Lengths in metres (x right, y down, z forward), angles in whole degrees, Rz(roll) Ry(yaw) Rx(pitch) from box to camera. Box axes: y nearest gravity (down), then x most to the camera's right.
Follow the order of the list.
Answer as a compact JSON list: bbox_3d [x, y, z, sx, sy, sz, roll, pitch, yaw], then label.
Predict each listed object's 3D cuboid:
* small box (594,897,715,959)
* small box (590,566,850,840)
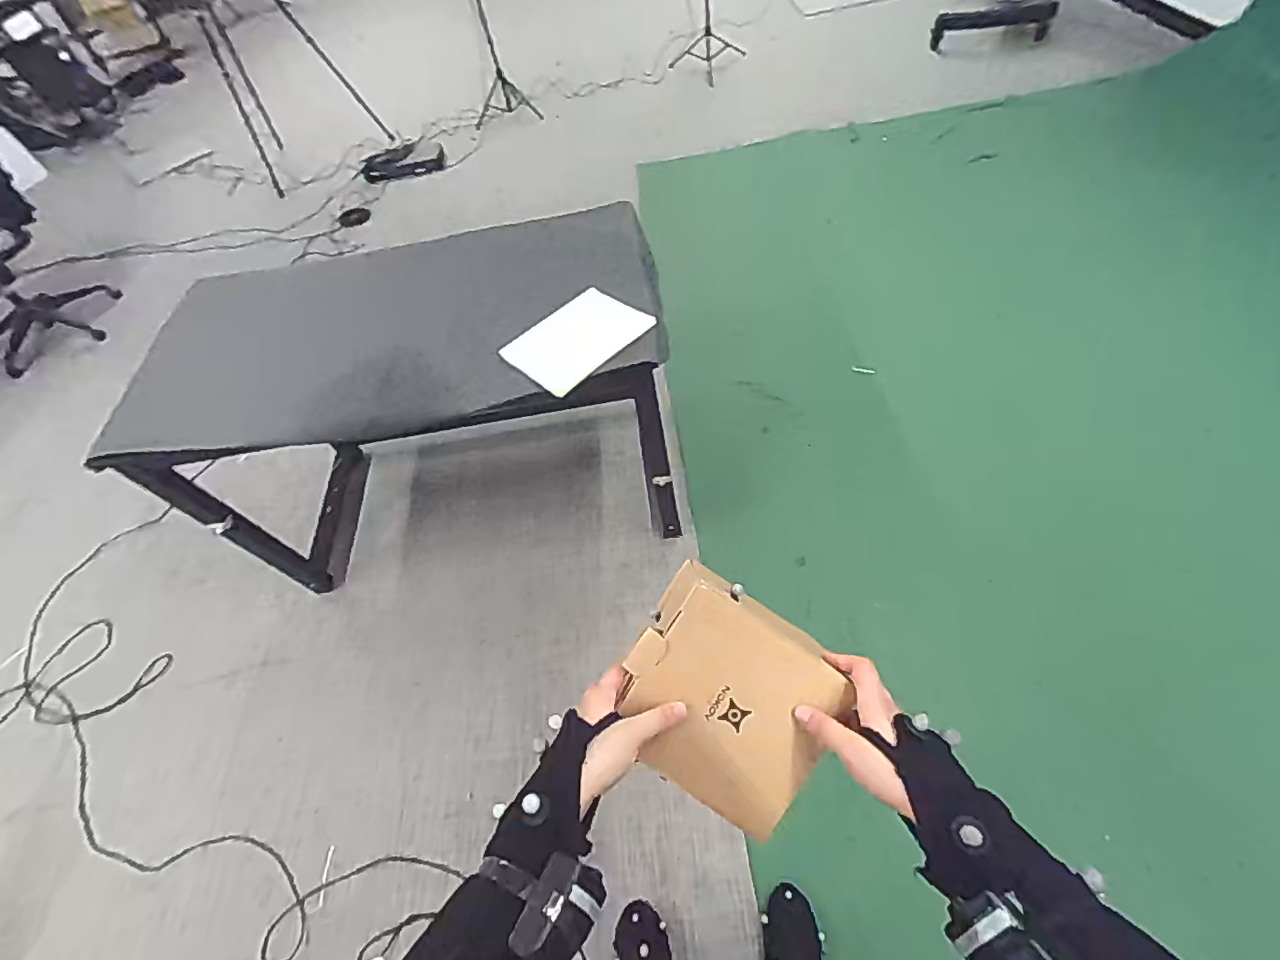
[{"bbox_3d":[0.022,0.933,1.010,0.176,0.168,0.179,41,40,2],"label":"small box"},{"bbox_3d":[0.075,0.205,0.557,0.179,0.176,0.168,33,91,3],"label":"small box"}]
